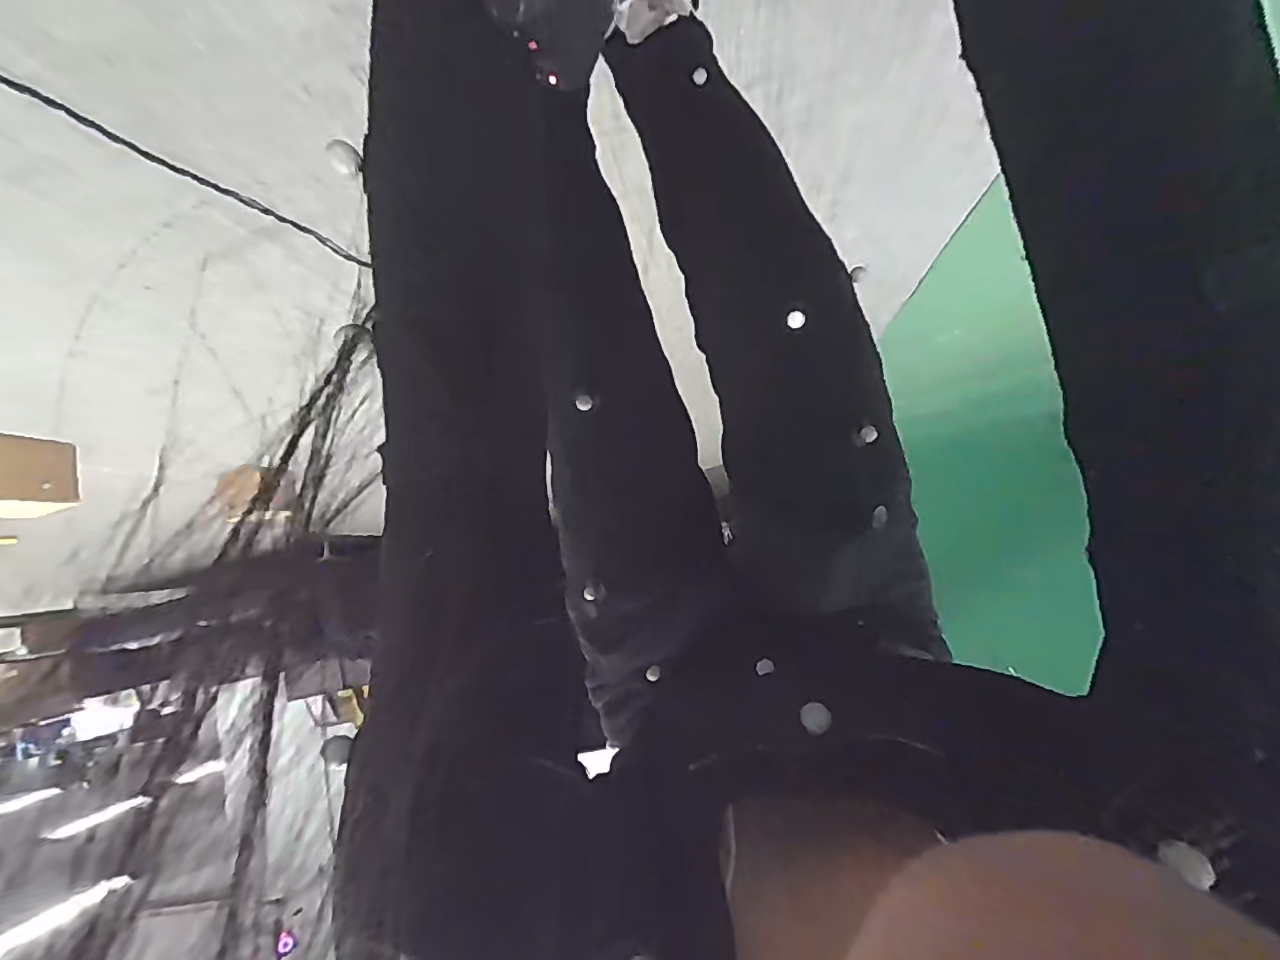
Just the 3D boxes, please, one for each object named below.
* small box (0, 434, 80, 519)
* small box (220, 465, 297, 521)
[{"bbox_3d":[-1.562,-0.008,1.340,0.168,0.176,0.179,-14,173,9],"label":"small box"},{"bbox_3d":[-1.418,0.051,2.007,0.179,0.176,0.168,-14,173,9],"label":"small box"}]
